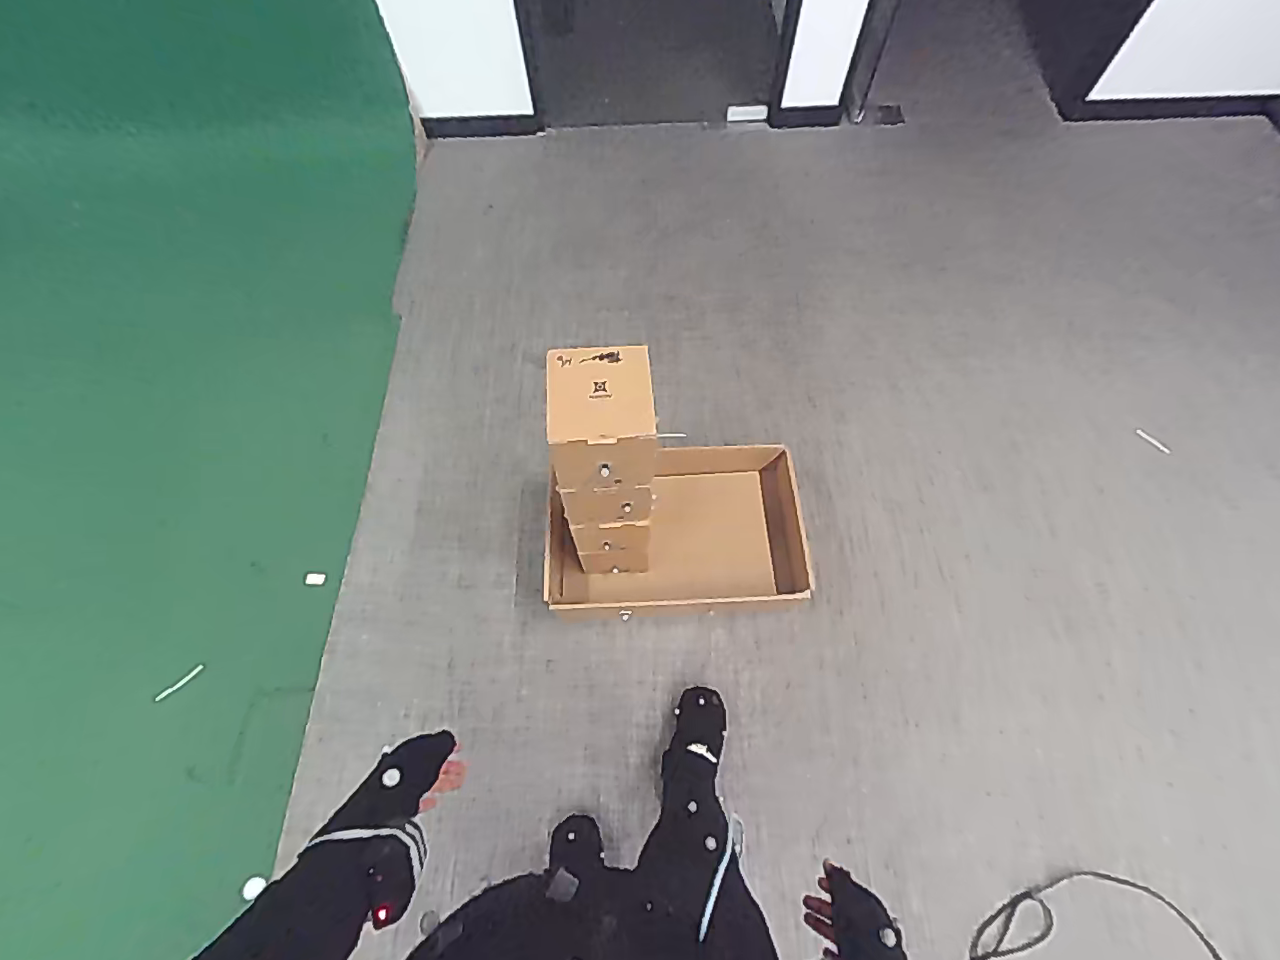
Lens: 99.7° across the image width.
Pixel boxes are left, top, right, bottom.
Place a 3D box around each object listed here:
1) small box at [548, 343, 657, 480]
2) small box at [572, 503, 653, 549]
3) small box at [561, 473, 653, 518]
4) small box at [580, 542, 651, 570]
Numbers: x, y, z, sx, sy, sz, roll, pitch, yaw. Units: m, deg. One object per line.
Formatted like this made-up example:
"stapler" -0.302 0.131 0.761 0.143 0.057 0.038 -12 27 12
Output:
"small box" -0.059 -0.106 0.902 0.168 0.176 0.179 -2 65 -3
"small box" -0.058 0.043 1.194 0.168 0.176 0.179 -2 65 -1
"small box" -0.061 -0.032 1.049 0.168 0.176 0.179 -3 64 -2
"small box" -0.057 0.115 1.340 0.168 0.176 0.179 -1 65 0
